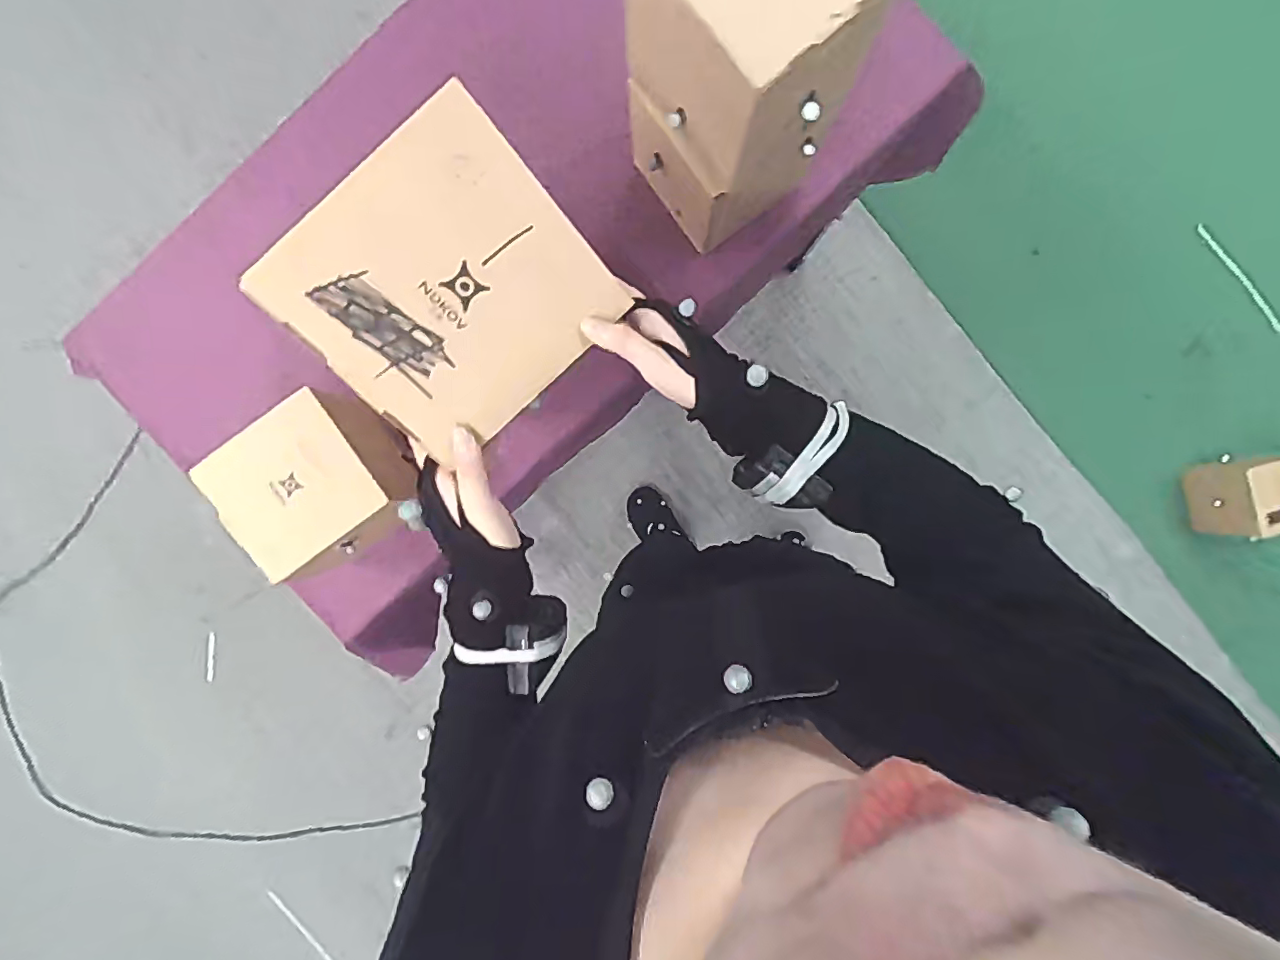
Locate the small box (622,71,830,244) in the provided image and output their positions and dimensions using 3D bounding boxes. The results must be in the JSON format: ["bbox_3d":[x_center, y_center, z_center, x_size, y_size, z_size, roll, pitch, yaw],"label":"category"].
[{"bbox_3d":[0.098,-0.434,0.675,0.179,0.176,0.168,-36,90,2],"label":"small box"}]

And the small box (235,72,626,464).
[{"bbox_3d":[-0.140,-0.145,0.411,0.179,0.176,0.168,-42,115,0],"label":"small box"}]

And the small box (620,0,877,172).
[{"bbox_3d":[0.096,-0.432,0.511,0.168,0.176,0.179,-39,91,1],"label":"small box"}]

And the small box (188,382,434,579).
[{"bbox_3d":[-0.406,0.000,0.700,0.179,0.176,0.168,-35,91,1],"label":"small box"}]
